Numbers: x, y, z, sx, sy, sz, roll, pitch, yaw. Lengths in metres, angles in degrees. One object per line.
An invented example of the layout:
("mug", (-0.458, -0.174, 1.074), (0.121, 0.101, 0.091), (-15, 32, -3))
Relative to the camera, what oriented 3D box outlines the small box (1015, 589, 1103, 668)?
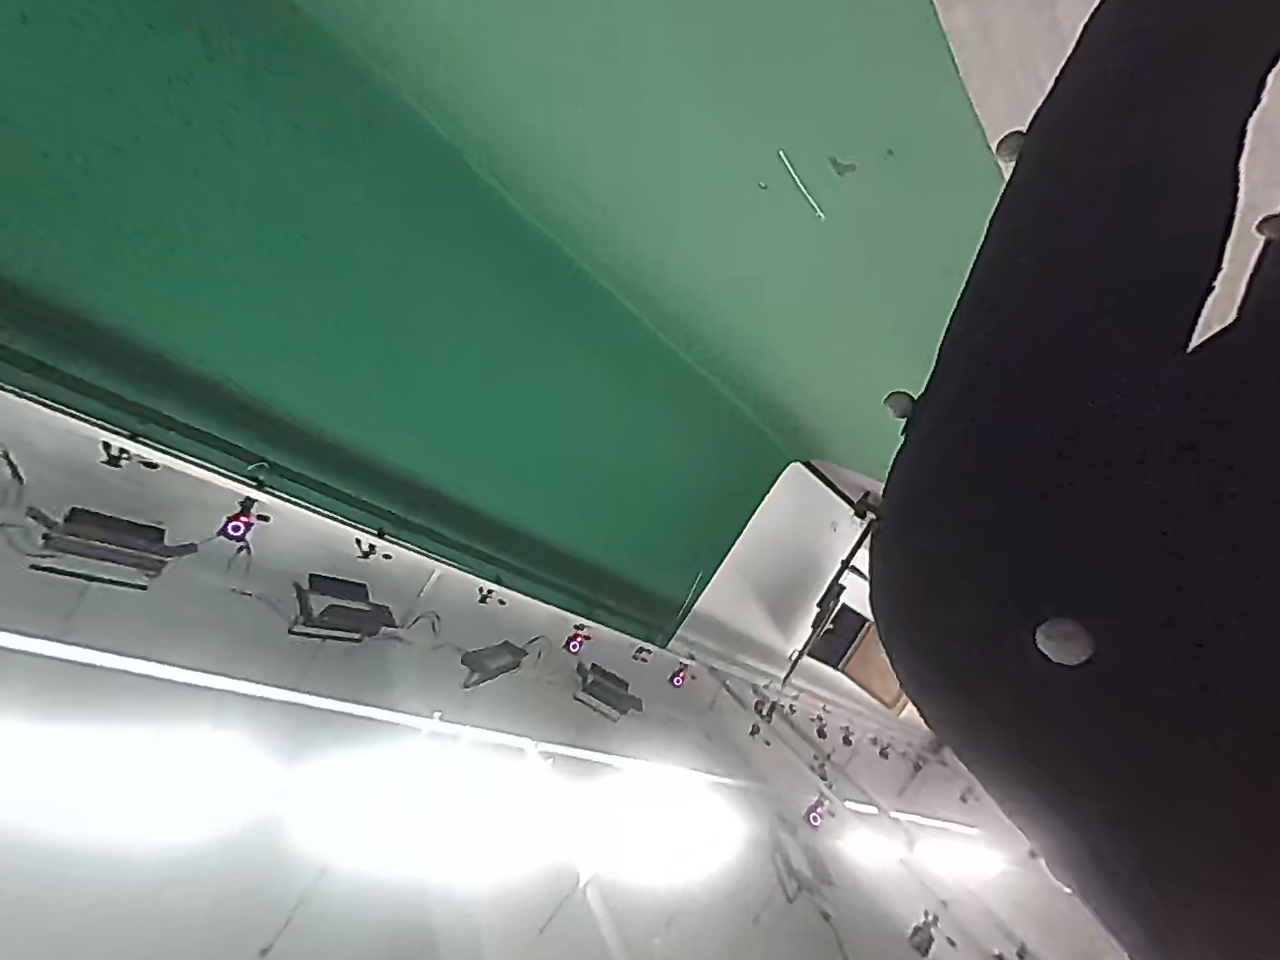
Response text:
("small box", (1.378, 0.485, 1.771), (0.168, 0.176, 0.179), (32, -179, -43))
